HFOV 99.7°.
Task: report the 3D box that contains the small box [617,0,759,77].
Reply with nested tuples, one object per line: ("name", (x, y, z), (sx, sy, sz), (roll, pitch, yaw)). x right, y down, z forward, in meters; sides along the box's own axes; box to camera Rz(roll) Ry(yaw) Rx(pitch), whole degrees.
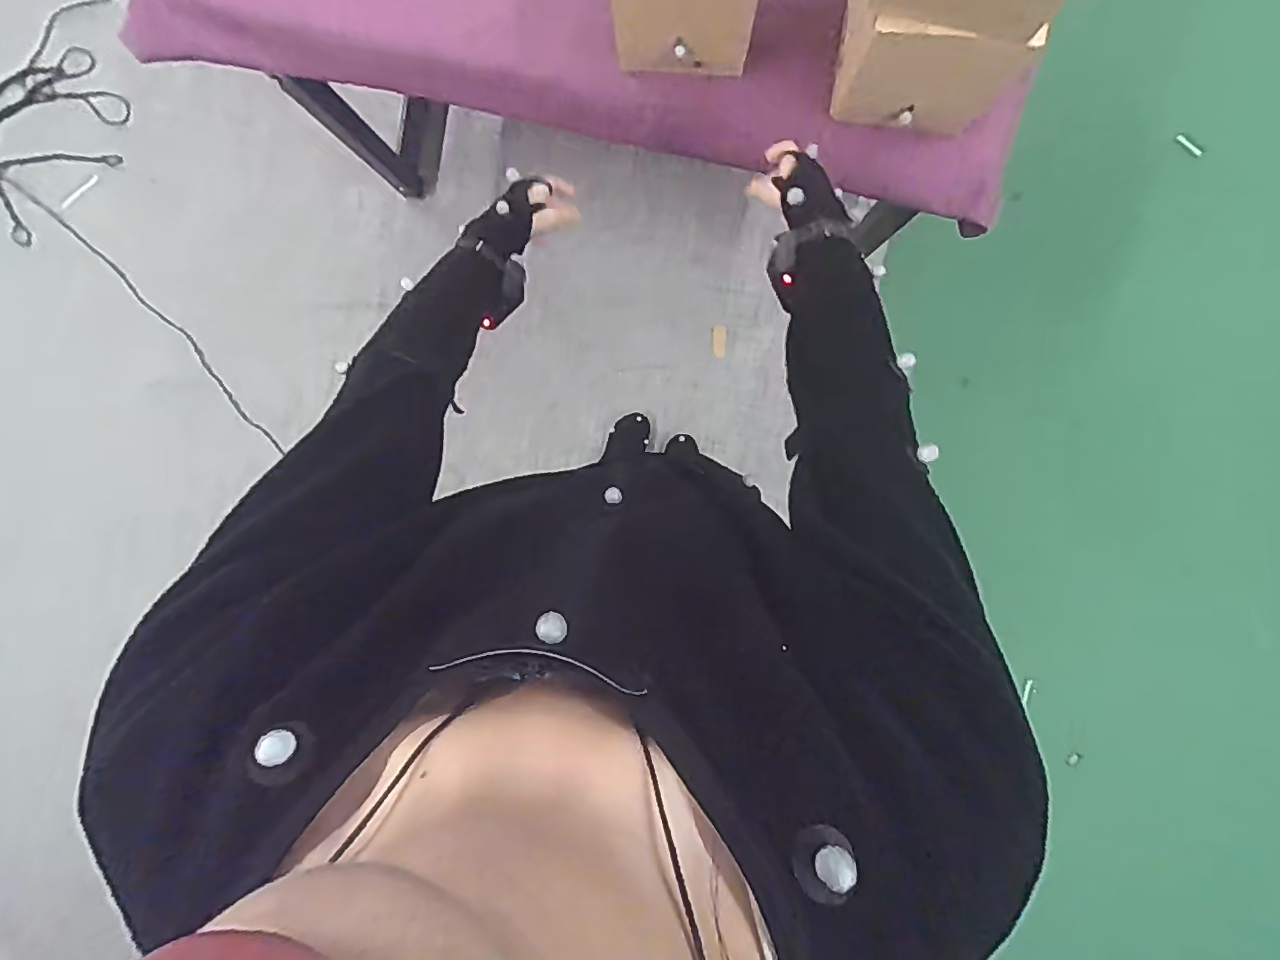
("small box", (0.061, -0.625, 0.635), (0.168, 0.176, 0.179), (6, 95, 3))

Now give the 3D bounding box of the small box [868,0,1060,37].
("small box", (0.328, -0.534, 0.466), (0.179, 0.176, 0.168), (14, 96, 3))

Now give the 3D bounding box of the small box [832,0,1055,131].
("small box", (0.346, -0.539, 0.629), (0.179, 0.176, 0.168), (8, 95, 2))
